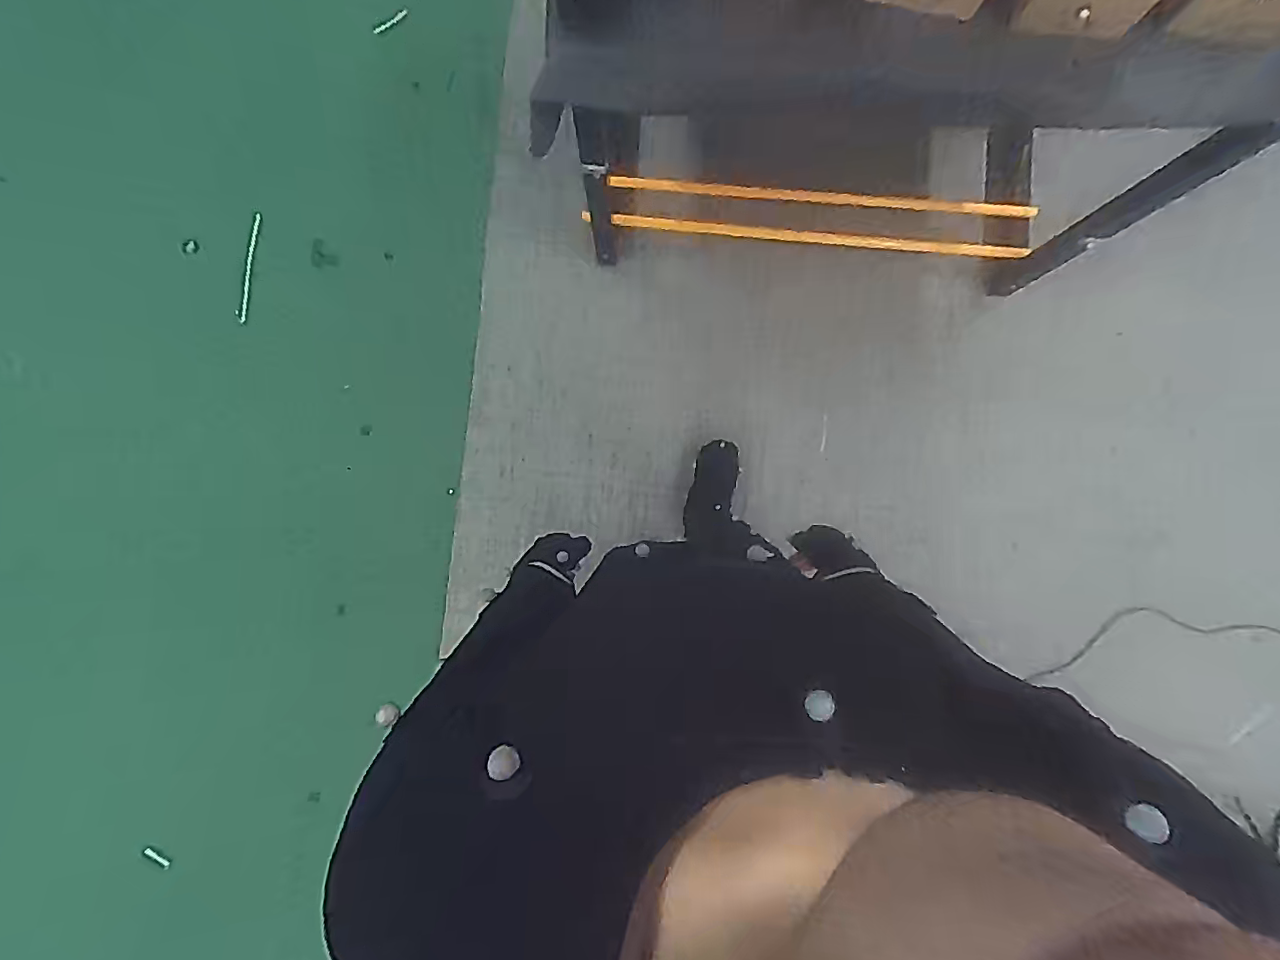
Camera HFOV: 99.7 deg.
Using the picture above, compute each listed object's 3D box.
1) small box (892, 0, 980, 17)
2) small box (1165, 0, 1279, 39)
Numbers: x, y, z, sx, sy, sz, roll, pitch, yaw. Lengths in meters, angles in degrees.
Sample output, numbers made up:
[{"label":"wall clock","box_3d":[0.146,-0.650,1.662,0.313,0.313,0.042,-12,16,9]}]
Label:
[{"label":"small box","box_3d":[0.431,-0.789,0.734,0.168,0.176,0.179,11,86,0]},{"label":"small box","box_3d":[0.871,-0.751,0.731,0.168,0.176,0.179,8,86,0]}]
